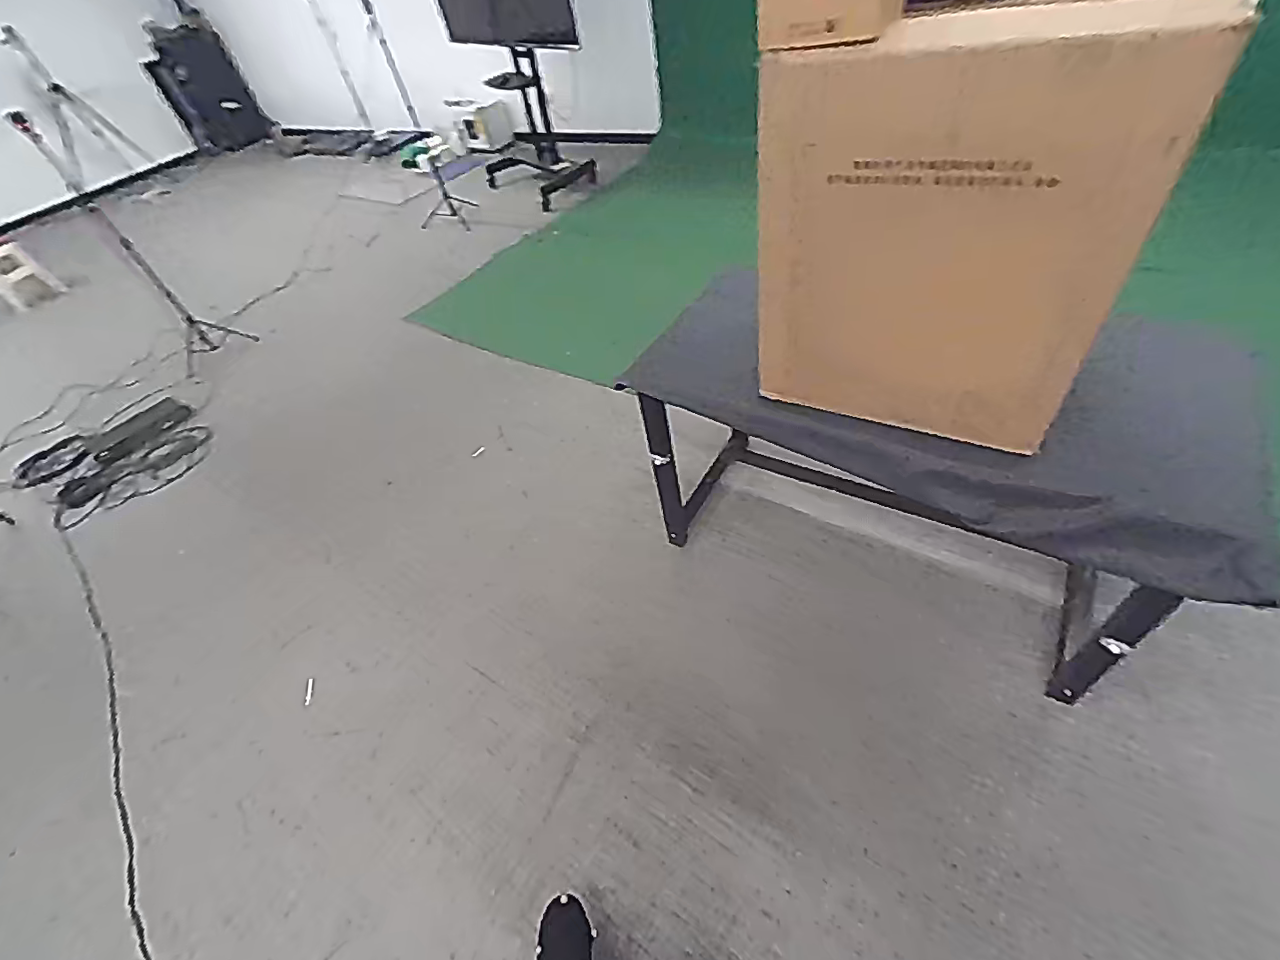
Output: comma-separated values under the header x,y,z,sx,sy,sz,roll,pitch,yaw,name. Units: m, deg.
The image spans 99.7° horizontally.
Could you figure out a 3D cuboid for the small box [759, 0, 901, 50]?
x,y,z,sx,sy,sz,roll,pitch,yaw,name
0.268,-0.713,0.741,0.168,0.176,0.179,16,54,27,small box
